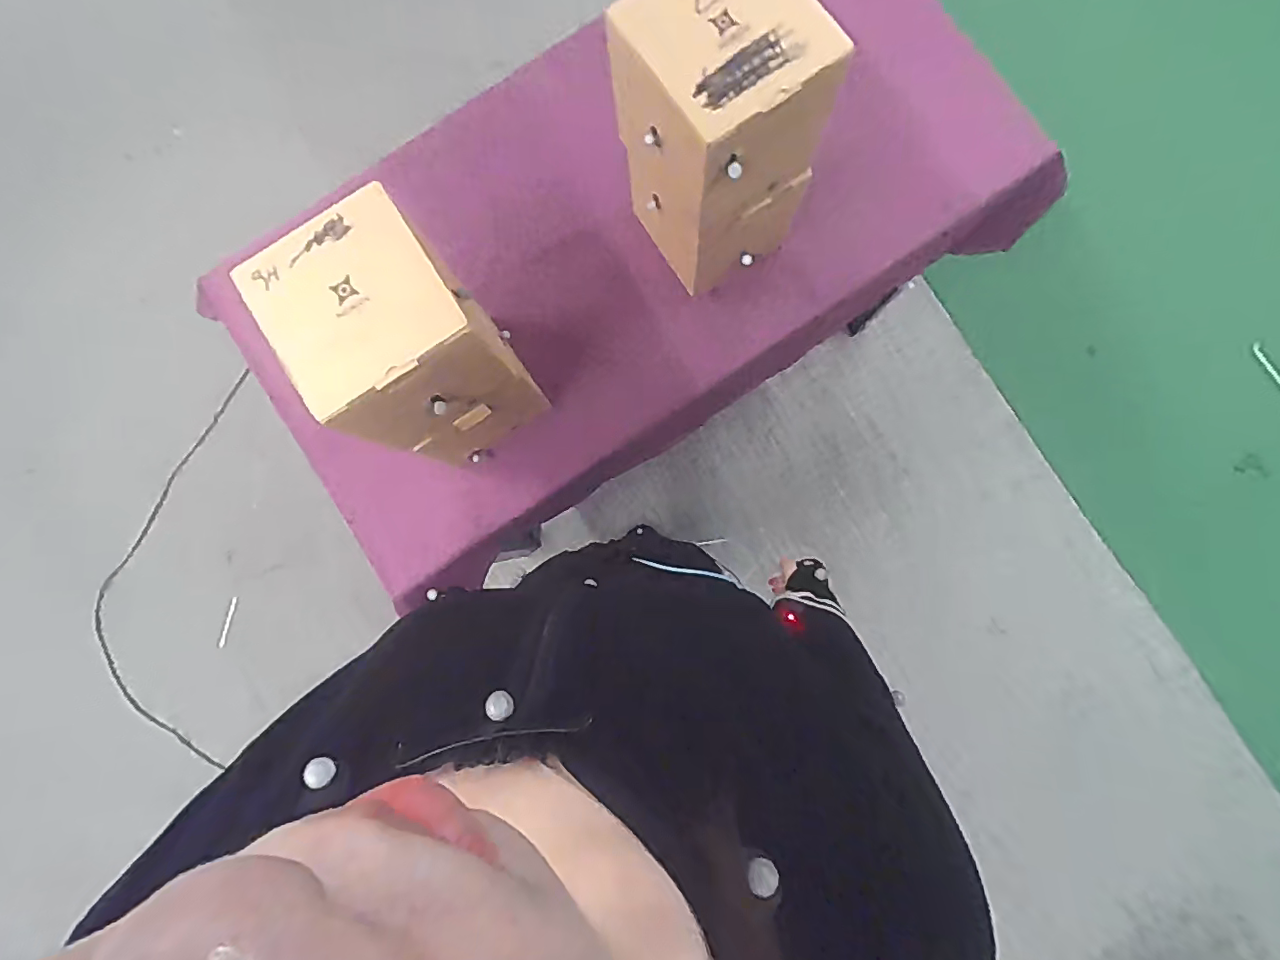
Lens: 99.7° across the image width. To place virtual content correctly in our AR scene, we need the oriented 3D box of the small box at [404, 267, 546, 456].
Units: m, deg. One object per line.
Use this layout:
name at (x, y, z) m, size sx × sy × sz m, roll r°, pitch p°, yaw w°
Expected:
small box at (-0.252, -0.146, 0.740) m, size 0.168 × 0.176 × 0.179 m, roll -35°, pitch 83°, yaw -1°

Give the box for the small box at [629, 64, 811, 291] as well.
small box at (0.100, -0.400, 0.744) m, size 0.168 × 0.176 × 0.179 m, roll -32°, pitch 85°, yaw 0°

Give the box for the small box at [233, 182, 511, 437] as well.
small box at (-0.262, -0.159, 0.576) m, size 0.168 × 0.176 × 0.179 m, roll -33°, pitch 85°, yaw -1°
